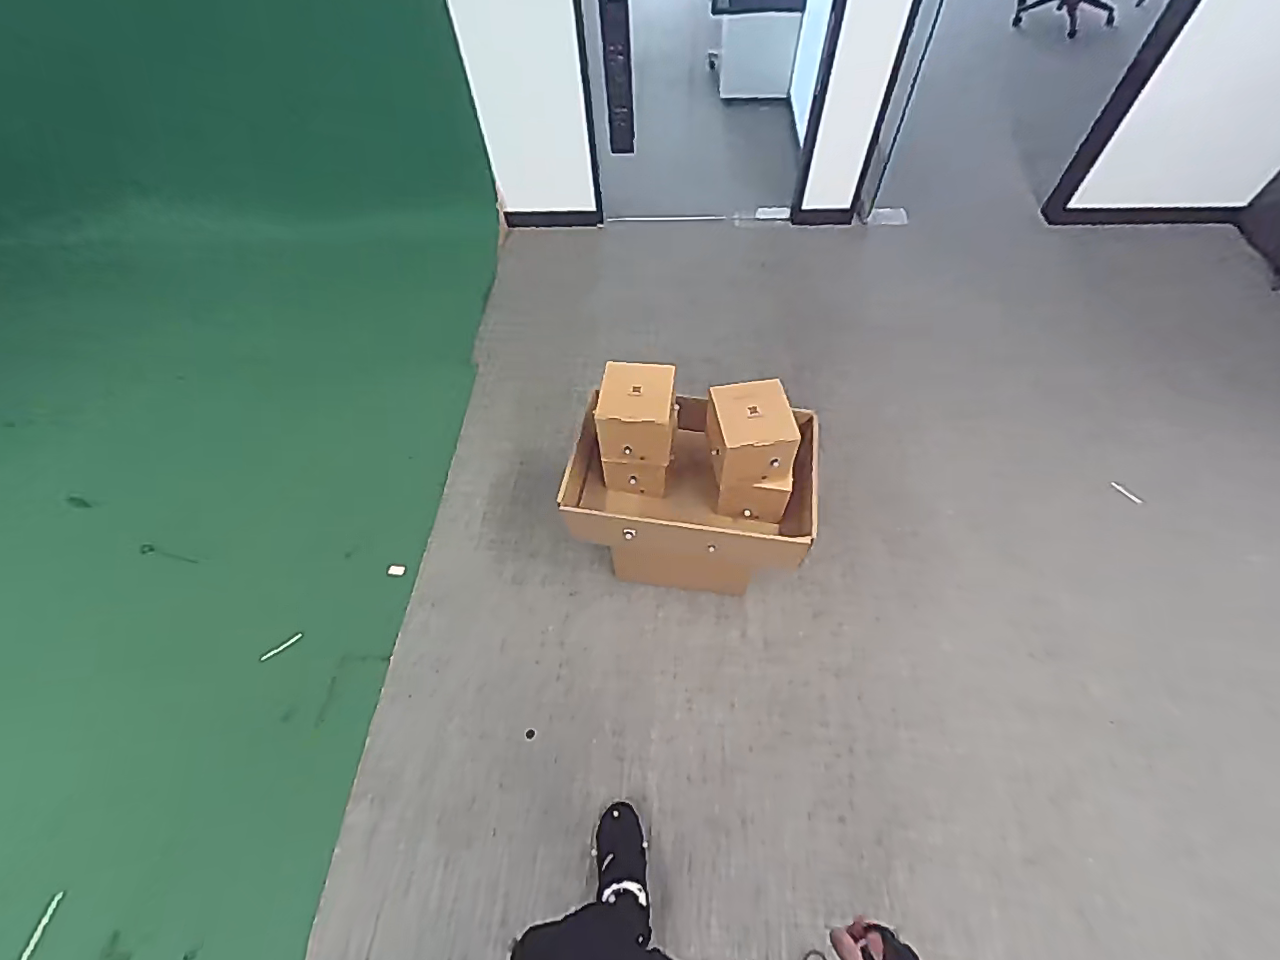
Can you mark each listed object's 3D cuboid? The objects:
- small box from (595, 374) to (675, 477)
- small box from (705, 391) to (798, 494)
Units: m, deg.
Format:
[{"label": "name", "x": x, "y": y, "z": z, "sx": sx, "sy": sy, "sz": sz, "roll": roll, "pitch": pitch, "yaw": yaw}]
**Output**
[{"label": "small box", "x": -0.007, "y": -0.131, "z": 1.306, "sx": 0.168, "sy": 0.176, "sz": 0.179, "roll": 5, "pitch": 56, "yaw": 6}, {"label": "small box", "x": 0.251, "y": -0.079, "z": 1.256, "sx": 0.168, "sy": 0.176, "sz": 0.179, "roll": -7, "pitch": 55, "yaw": -3}]
